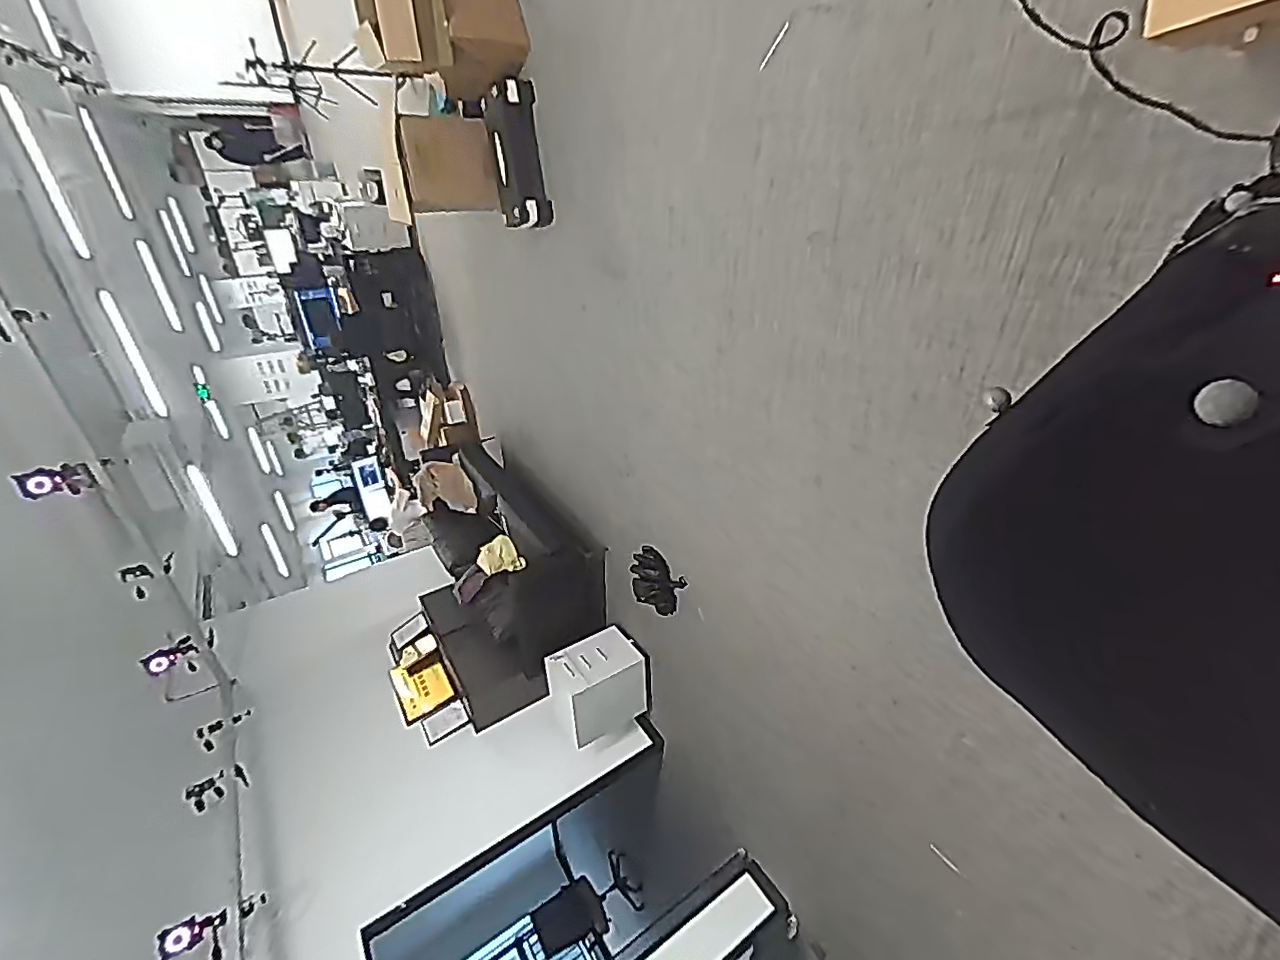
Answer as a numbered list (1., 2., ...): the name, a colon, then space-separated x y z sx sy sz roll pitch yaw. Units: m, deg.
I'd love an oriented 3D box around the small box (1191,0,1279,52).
1. small box: 0.852 -0.677 0.682 0.168 0.176 0.179 21 124 57
